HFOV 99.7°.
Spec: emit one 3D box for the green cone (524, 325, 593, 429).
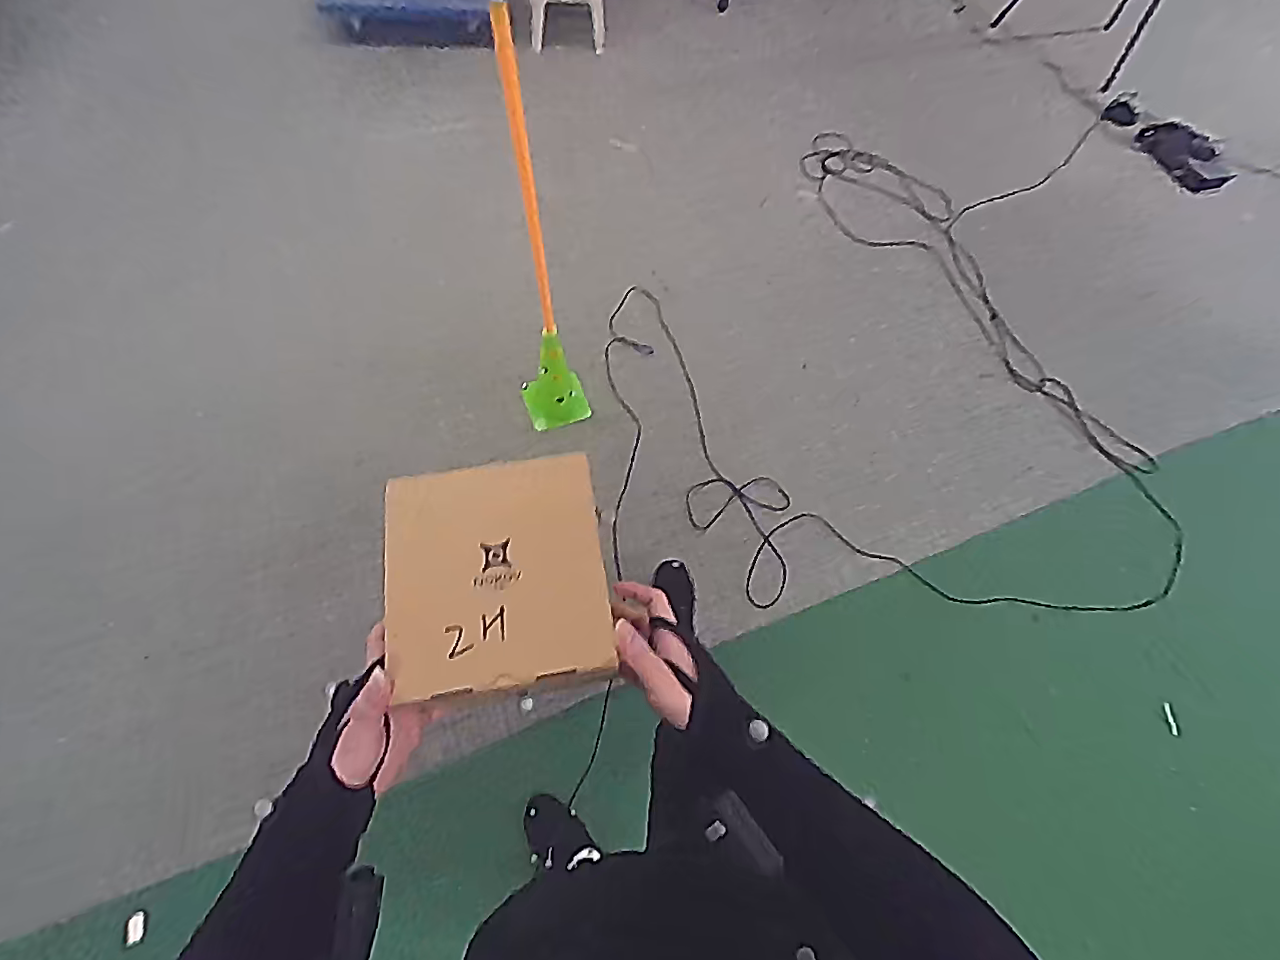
[{"bbox_3d":[-0.262,-0.347,1.707,0.202,0.368,0.200,-17,68,-15],"label":"green cone"}]
